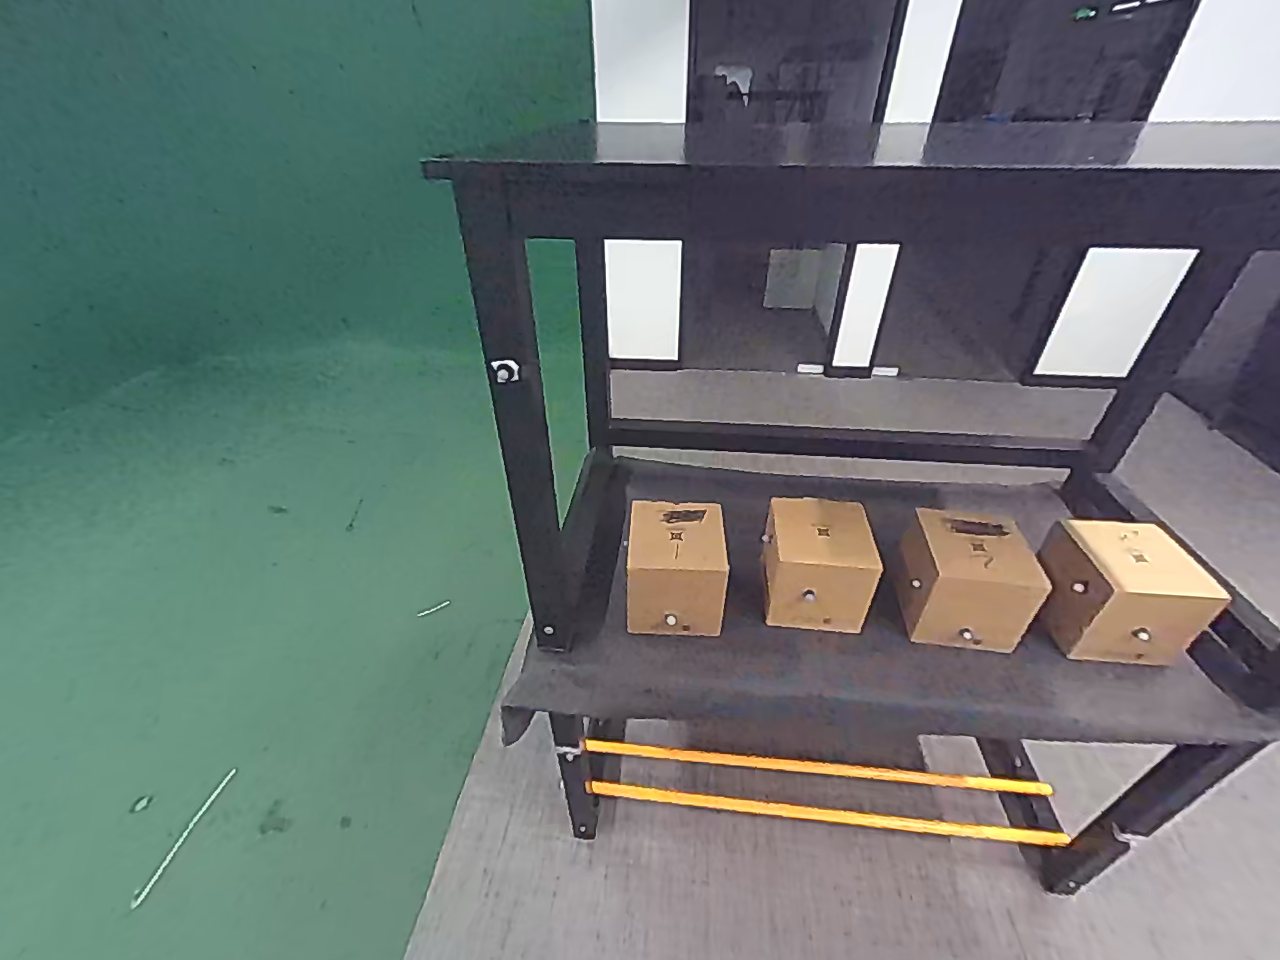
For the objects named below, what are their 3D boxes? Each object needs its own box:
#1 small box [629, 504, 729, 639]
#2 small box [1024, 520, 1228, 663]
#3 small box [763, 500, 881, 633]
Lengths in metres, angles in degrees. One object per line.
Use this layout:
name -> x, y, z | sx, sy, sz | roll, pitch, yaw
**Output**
small box -> 0.067, 0.163, 0.983 | 0.168, 0.176, 0.179 | 1, 36, 2
small box -> 0.809, 0.191, 0.927 | 0.168, 0.176, 0.179 | 3, 35, 5
small box -> 0.321, 0.158, 0.990 | 0.168, 0.176, 0.179 | 4, 35, 6
